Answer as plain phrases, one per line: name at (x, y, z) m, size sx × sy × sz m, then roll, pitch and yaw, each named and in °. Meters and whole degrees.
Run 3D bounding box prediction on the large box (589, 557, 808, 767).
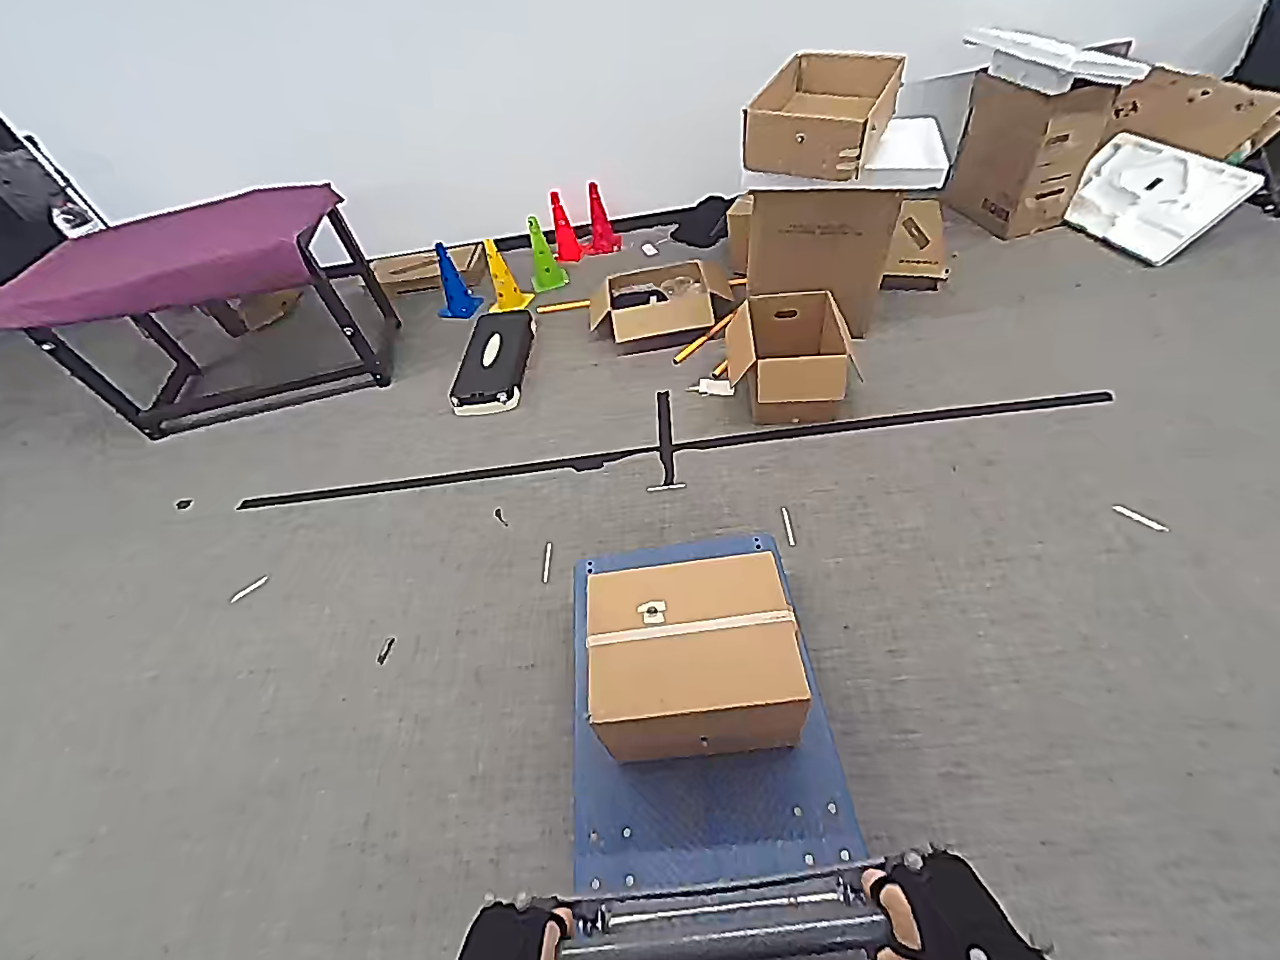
large box at (0.120, 0.408, 1.189) m, size 0.408 × 0.320 × 0.320 m, roll -9°, pitch 48°, yaw 4°
